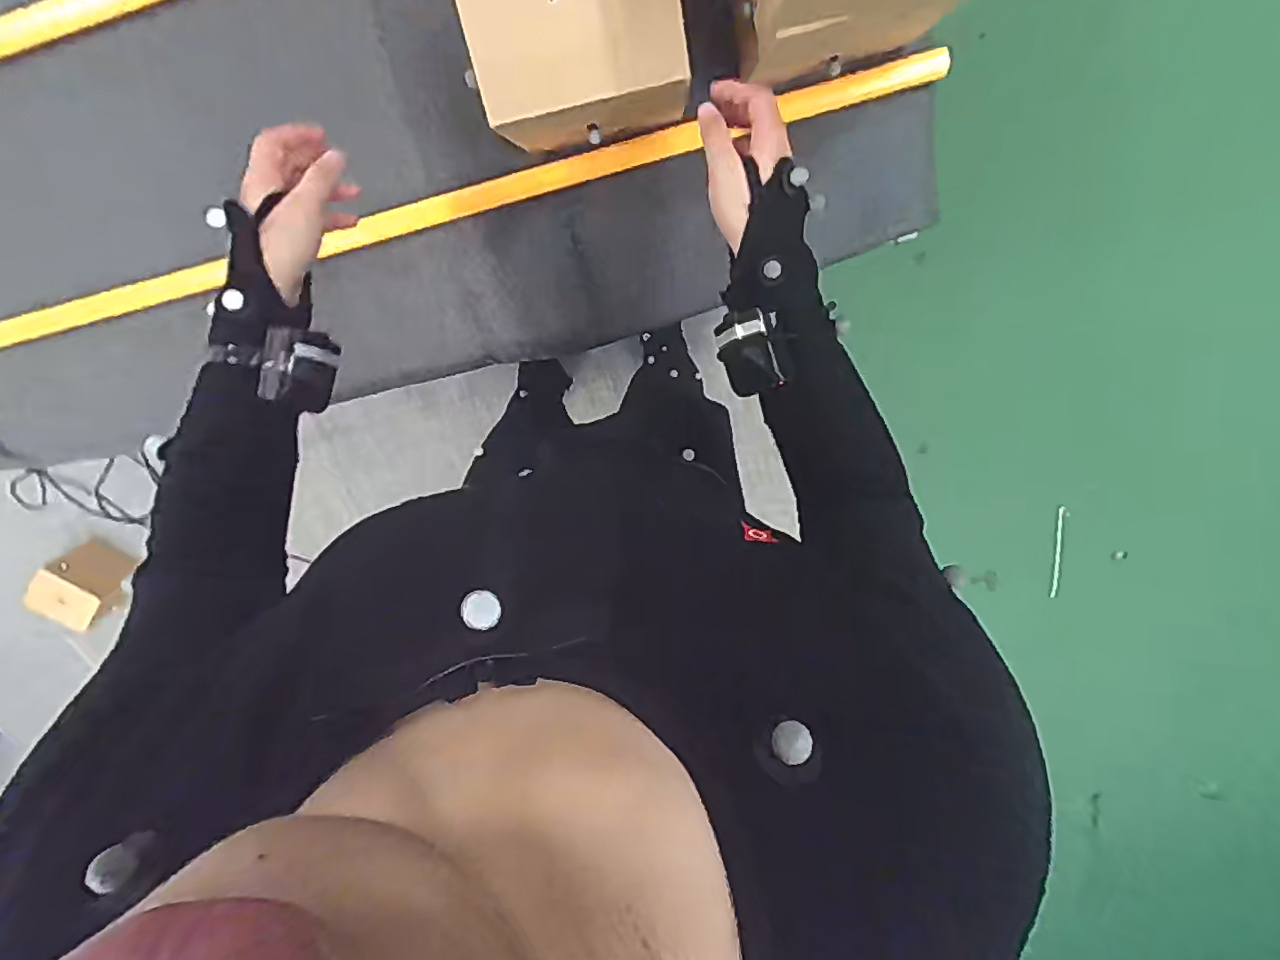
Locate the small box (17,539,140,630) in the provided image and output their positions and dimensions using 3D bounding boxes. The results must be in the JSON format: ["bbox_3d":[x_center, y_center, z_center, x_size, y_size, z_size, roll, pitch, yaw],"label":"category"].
[{"bbox_3d":[-1.668,0.306,1.617,0.179,0.176,0.168,39,110,-15],"label":"small box"}]

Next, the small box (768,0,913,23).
[{"bbox_3d":[0.163,-0.380,0.285,0.179,0.176,0.168,-8,115,4],"label":"small box"}]
